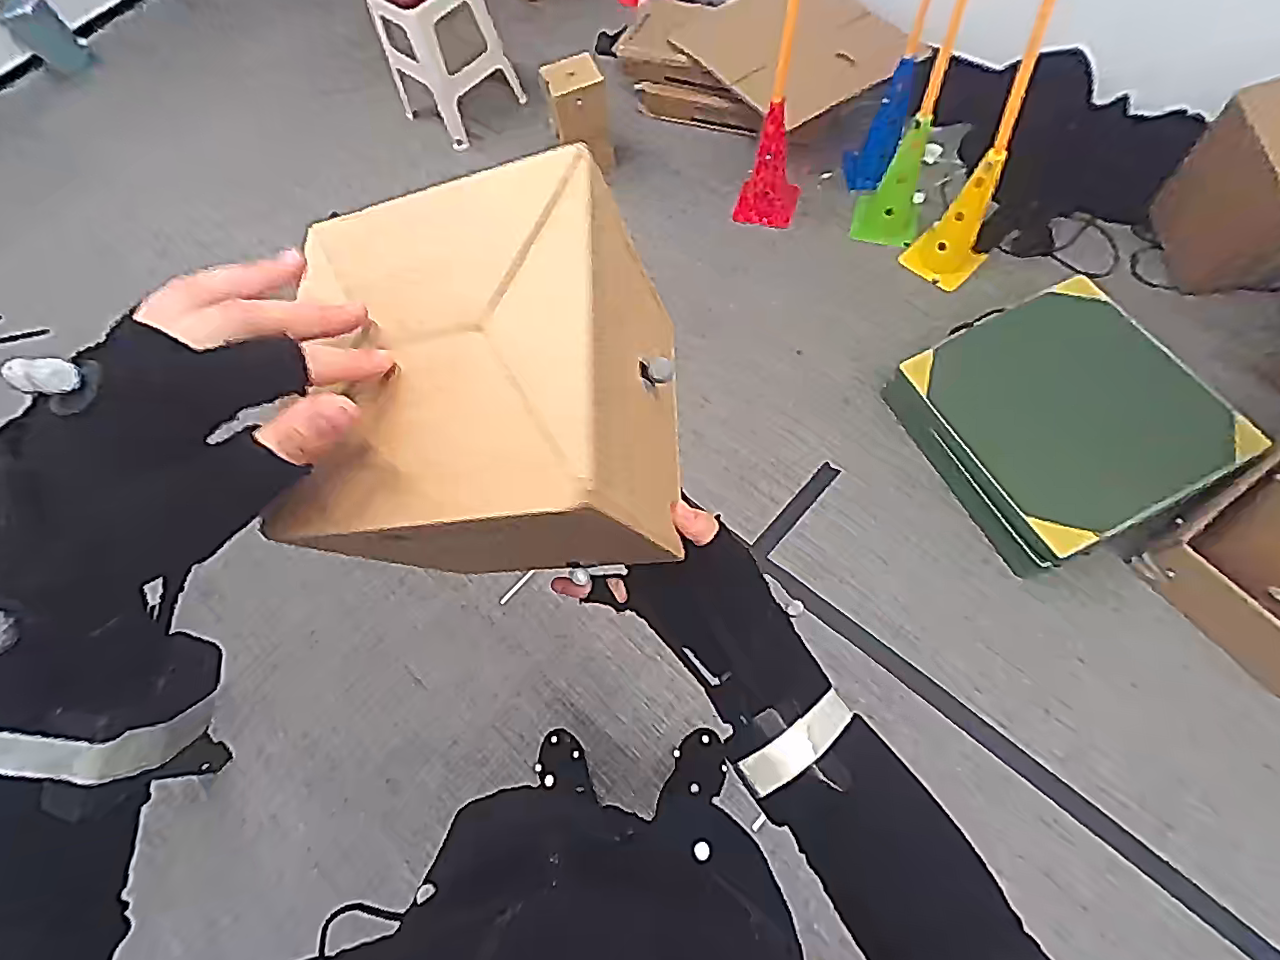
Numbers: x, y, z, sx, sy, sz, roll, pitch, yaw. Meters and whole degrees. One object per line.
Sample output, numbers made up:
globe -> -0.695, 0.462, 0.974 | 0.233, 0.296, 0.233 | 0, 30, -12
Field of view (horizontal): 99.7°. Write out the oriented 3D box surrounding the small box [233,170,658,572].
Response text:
small box -> -0.090, -0.041, 0.322 | 0.168, 0.176, 0.179 | -4, 73, 19
